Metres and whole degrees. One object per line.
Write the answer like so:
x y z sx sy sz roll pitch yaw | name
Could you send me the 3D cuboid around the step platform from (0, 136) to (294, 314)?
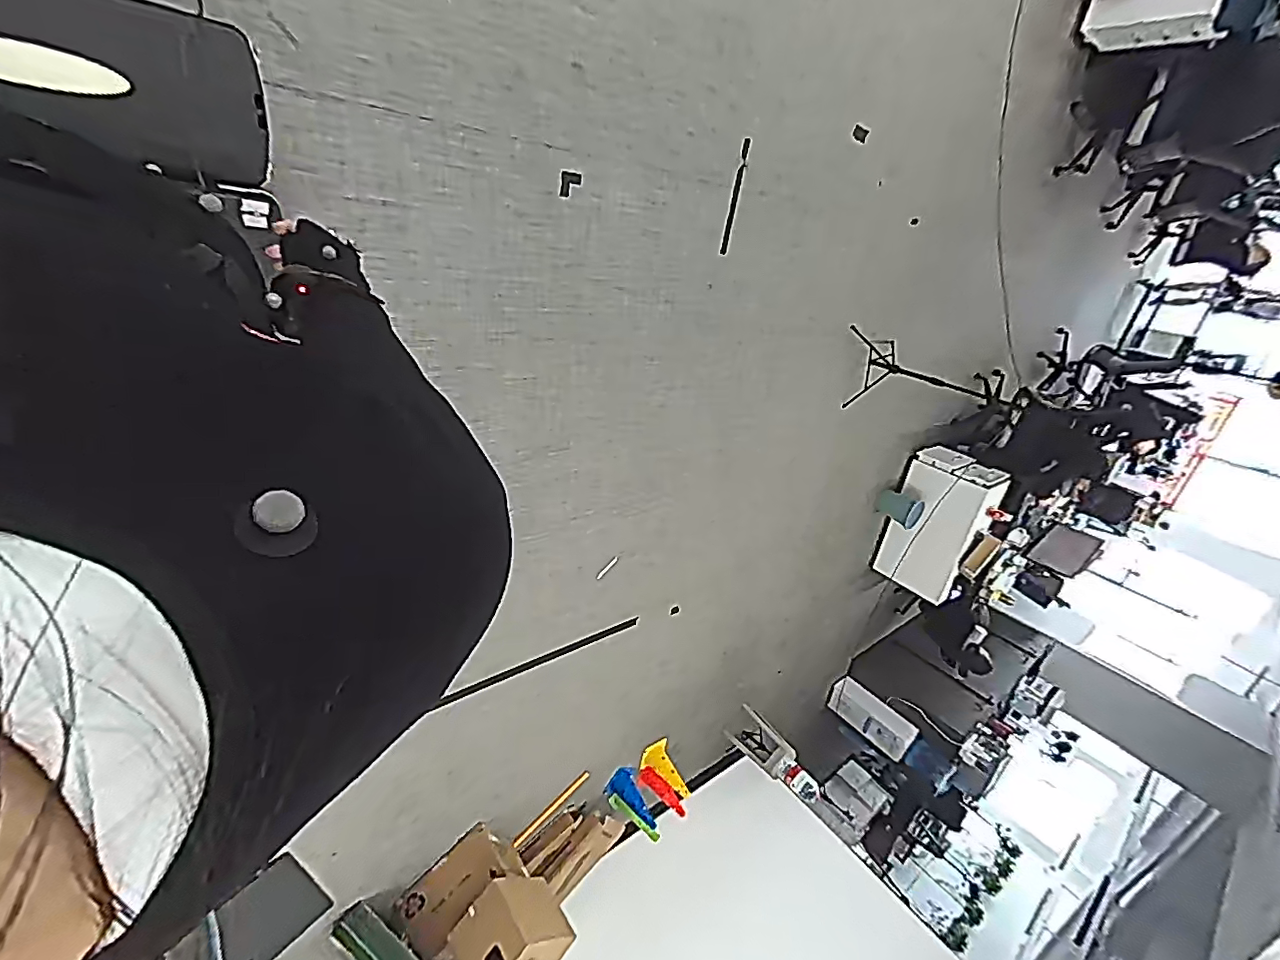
-1.057 -0.470 1.017 0.684 0.204 0.286 -12 122 -36 | step platform
